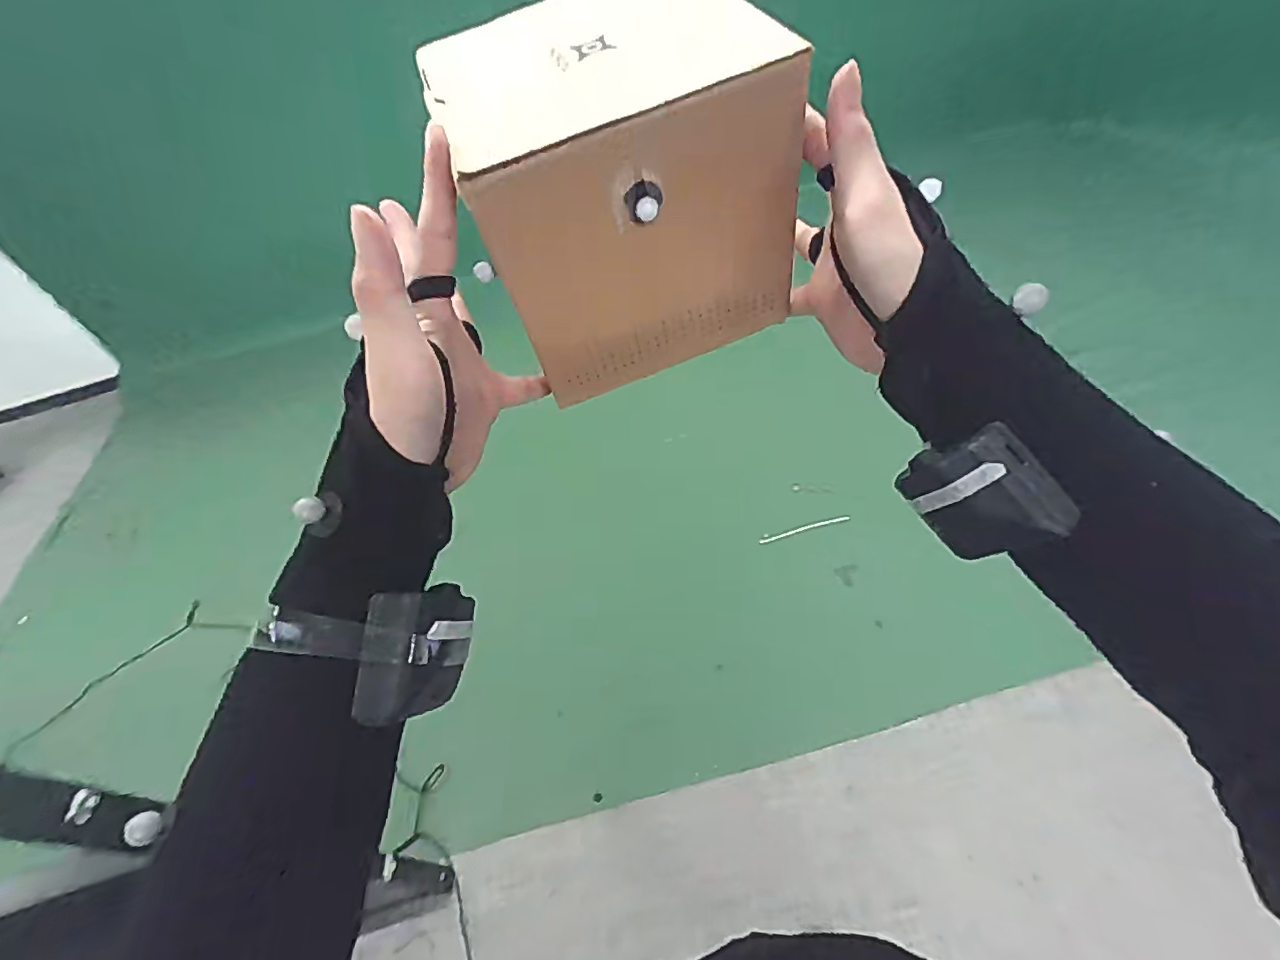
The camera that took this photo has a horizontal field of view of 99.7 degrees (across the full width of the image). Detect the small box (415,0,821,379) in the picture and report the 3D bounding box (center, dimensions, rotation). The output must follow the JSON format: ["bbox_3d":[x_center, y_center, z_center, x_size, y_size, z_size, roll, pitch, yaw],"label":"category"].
[{"bbox_3d":[-0.012,-0.190,0.334,0.179,0.176,0.168,-19,58,-1],"label":"small box"}]
